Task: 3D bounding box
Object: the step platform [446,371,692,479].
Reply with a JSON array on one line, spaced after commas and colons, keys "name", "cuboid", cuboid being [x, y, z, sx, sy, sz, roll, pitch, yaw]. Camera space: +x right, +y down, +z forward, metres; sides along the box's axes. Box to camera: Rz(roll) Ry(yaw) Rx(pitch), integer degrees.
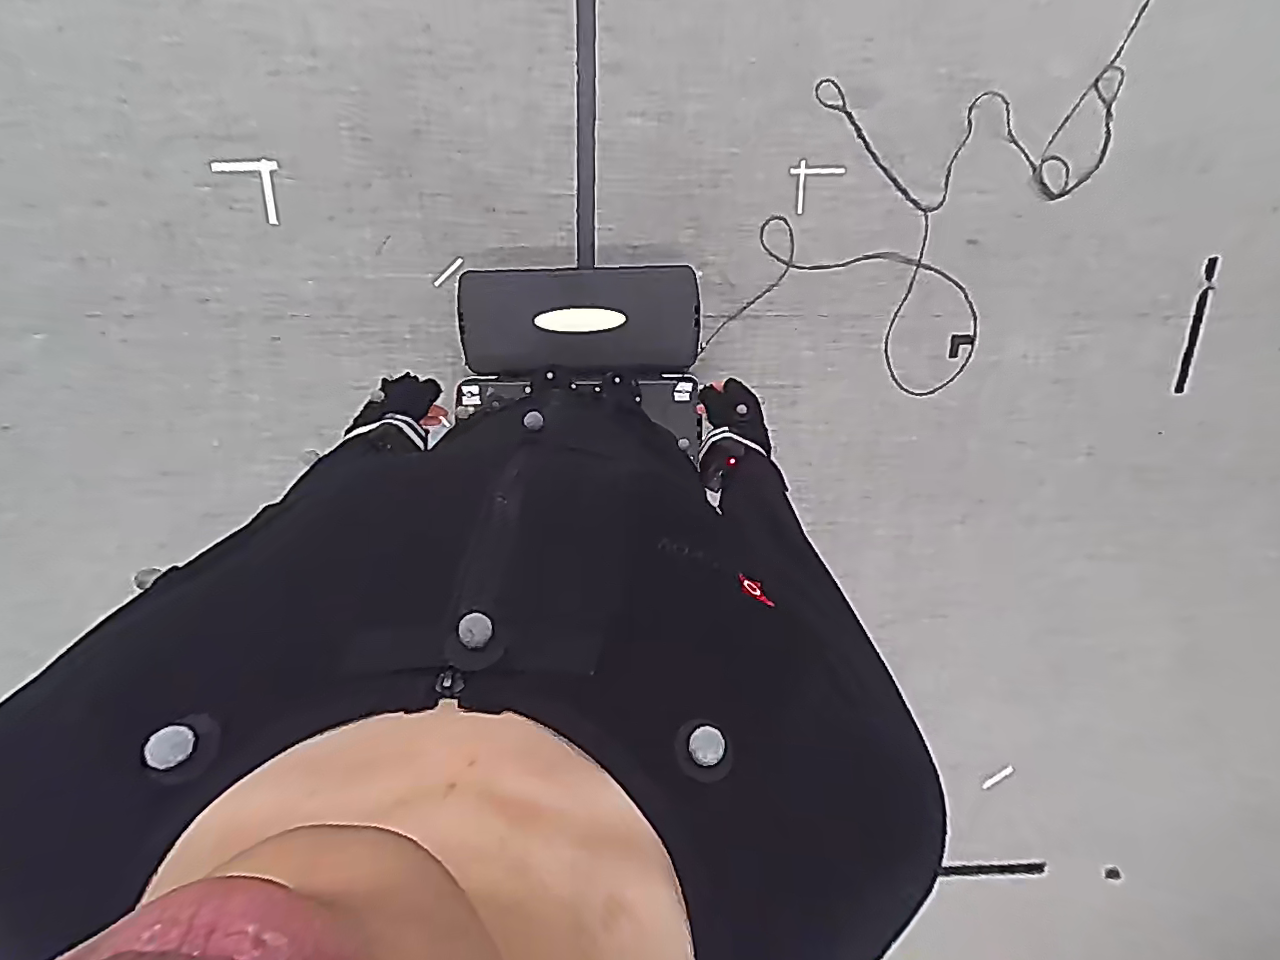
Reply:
[{"name": "step platform", "cuboid": [-0.193, -0.158, 1.544, 0.684, 0.204, 0.286, -1, 103, -1]}]
